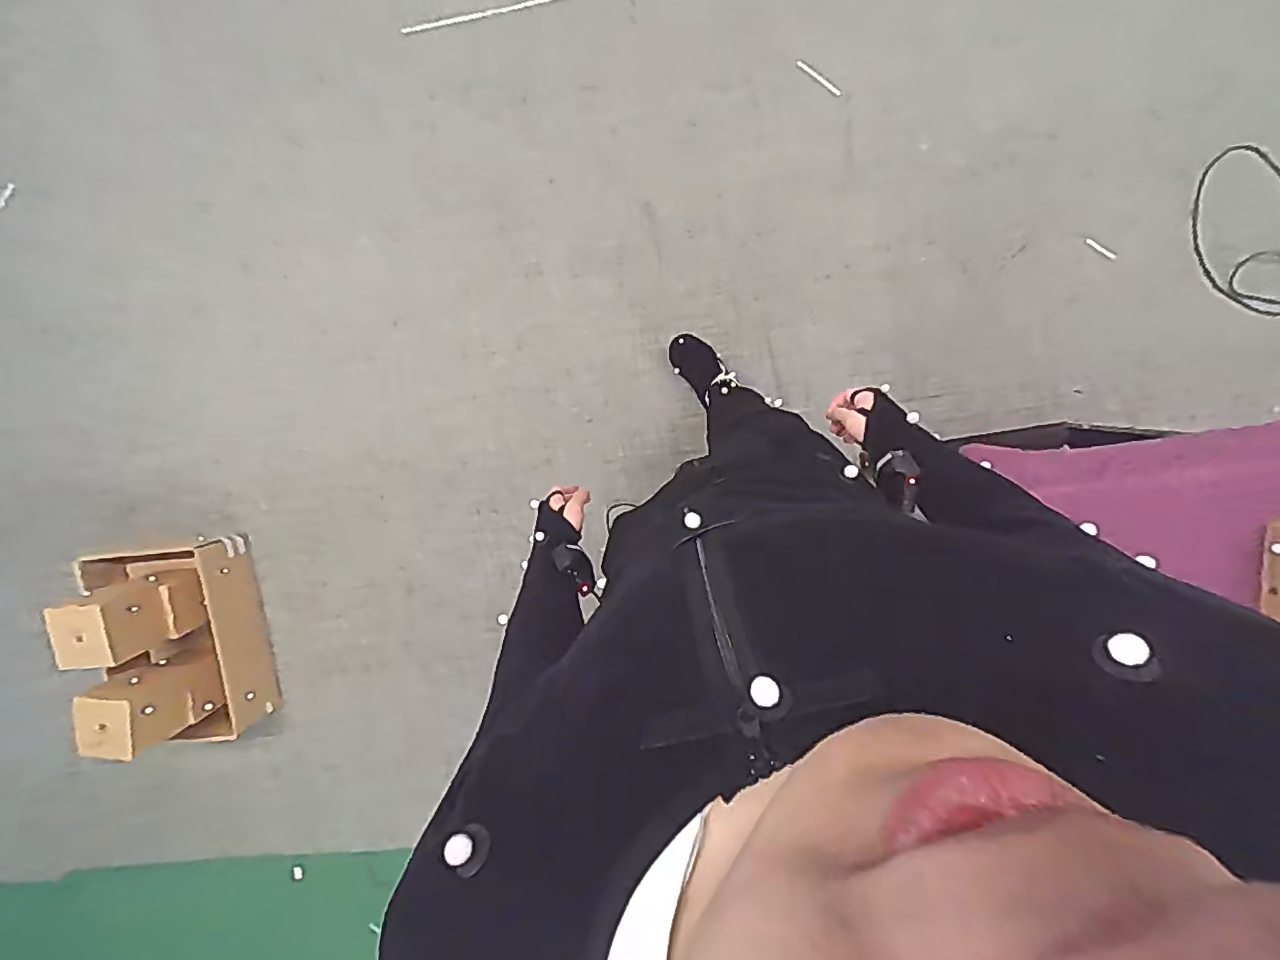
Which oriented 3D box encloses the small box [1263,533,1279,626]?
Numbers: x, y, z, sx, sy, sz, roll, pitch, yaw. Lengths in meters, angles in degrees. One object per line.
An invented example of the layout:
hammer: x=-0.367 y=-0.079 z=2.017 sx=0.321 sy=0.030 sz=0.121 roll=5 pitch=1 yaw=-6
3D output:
small box: x=1.053 y=0.151 z=0.758 sx=0.179 sy=0.176 sz=0.168 roll=-5 pitch=99 yaw=6

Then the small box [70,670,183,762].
small box: x=-1.437 y=0.656 z=1.524 sx=0.168 sy=0.176 sz=0.179 roll=4 pitch=98 yaw=4
